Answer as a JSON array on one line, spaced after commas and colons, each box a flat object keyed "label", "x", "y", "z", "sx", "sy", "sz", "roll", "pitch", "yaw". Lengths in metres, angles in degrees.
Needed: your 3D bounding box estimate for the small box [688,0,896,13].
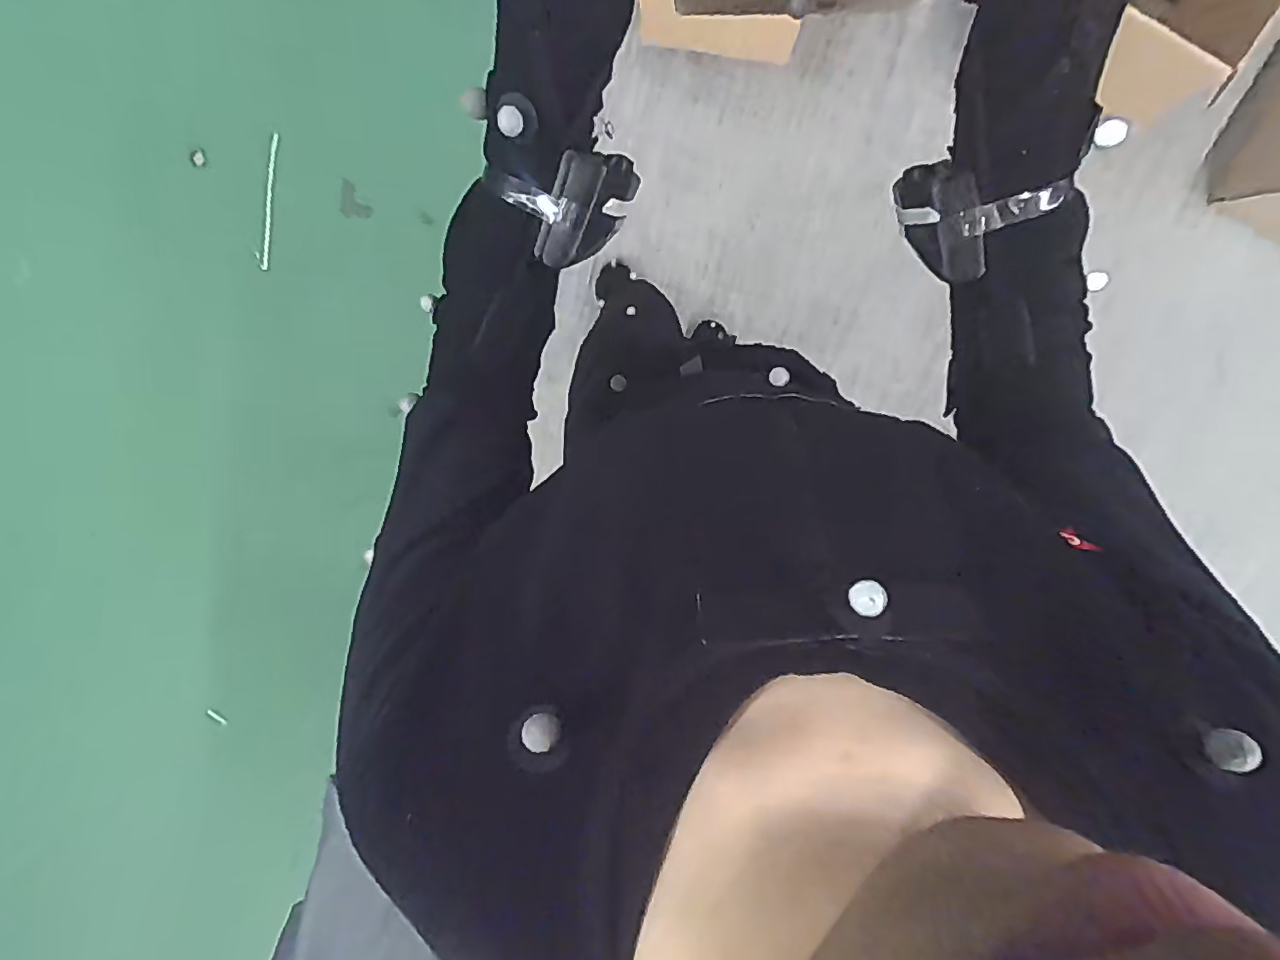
[{"label": "small box", "x": 0.097, "y": -0.383, "z": 0.278, "sx": 0.168, "sy": 0.176, "sz": 0.179, "roll": 5, "pitch": 115, "yaw": 5}]
